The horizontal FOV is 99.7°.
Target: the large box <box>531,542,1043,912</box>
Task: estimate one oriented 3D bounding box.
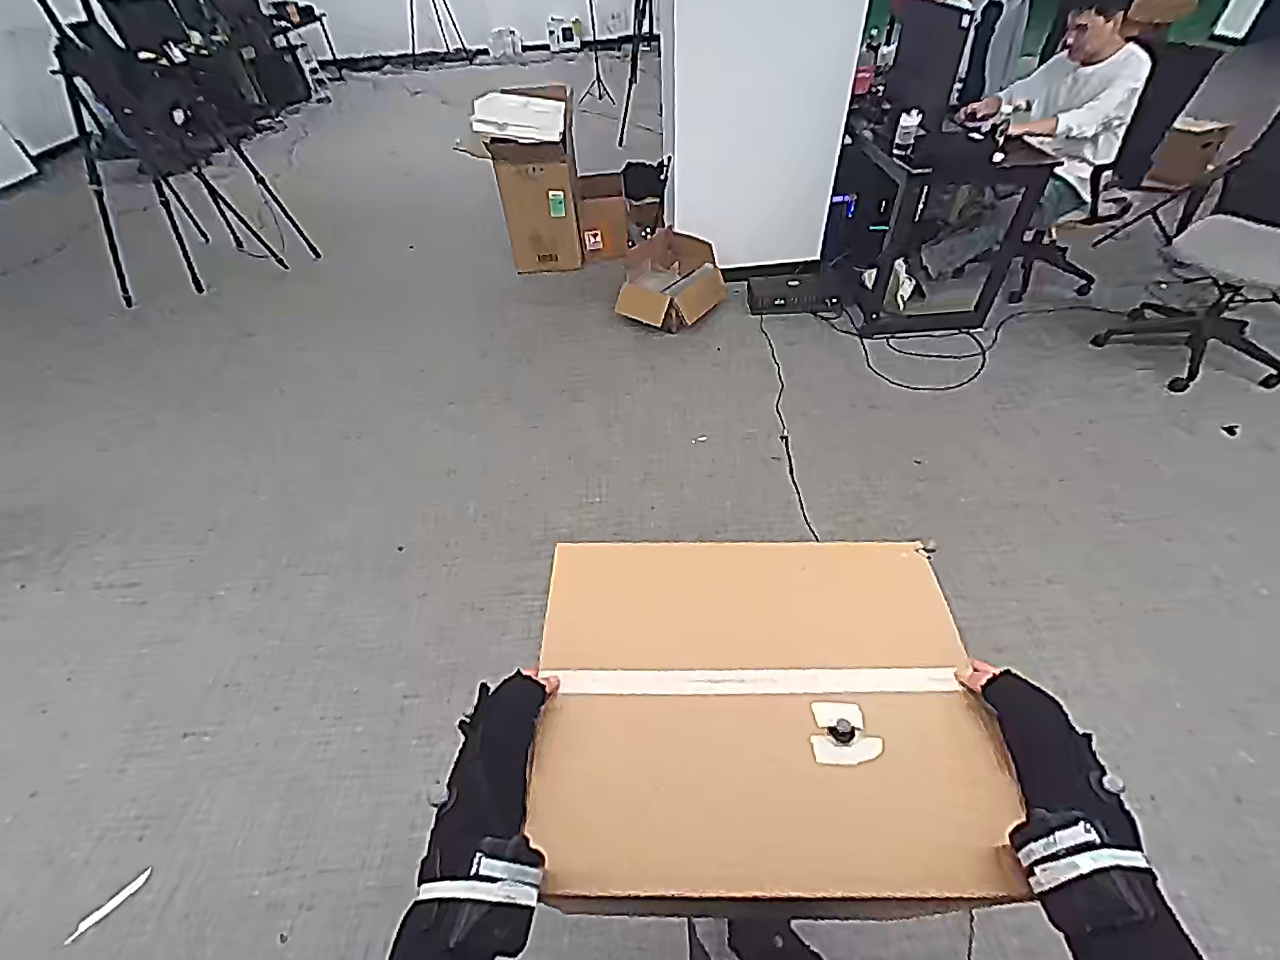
[{"bbox_3d":[0.111,0.285,0.621,0.408,0.320,0.320,0,49,0],"label":"large box"}]
